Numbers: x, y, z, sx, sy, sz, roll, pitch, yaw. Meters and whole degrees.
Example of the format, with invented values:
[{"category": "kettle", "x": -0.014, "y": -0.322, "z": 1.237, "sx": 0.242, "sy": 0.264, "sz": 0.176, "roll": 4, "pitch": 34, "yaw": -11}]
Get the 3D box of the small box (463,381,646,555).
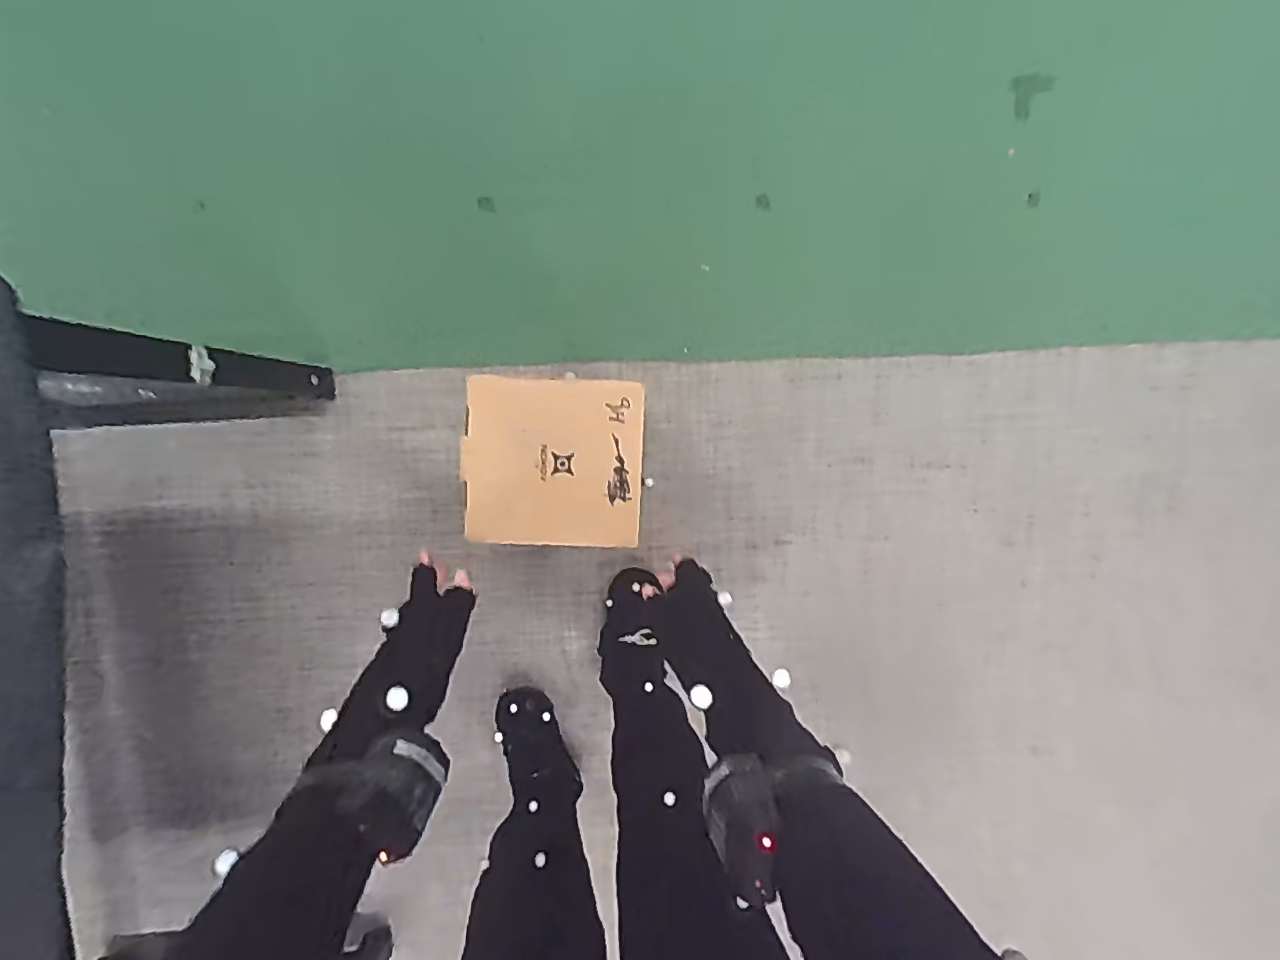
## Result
[{"category": "small box", "x": -0.086, "y": -0.017, "z": 0.616, "sx": 0.179, "sy": 0.176, "sz": 0.168, "roll": 3, "pitch": 95, "yaw": 0}]
